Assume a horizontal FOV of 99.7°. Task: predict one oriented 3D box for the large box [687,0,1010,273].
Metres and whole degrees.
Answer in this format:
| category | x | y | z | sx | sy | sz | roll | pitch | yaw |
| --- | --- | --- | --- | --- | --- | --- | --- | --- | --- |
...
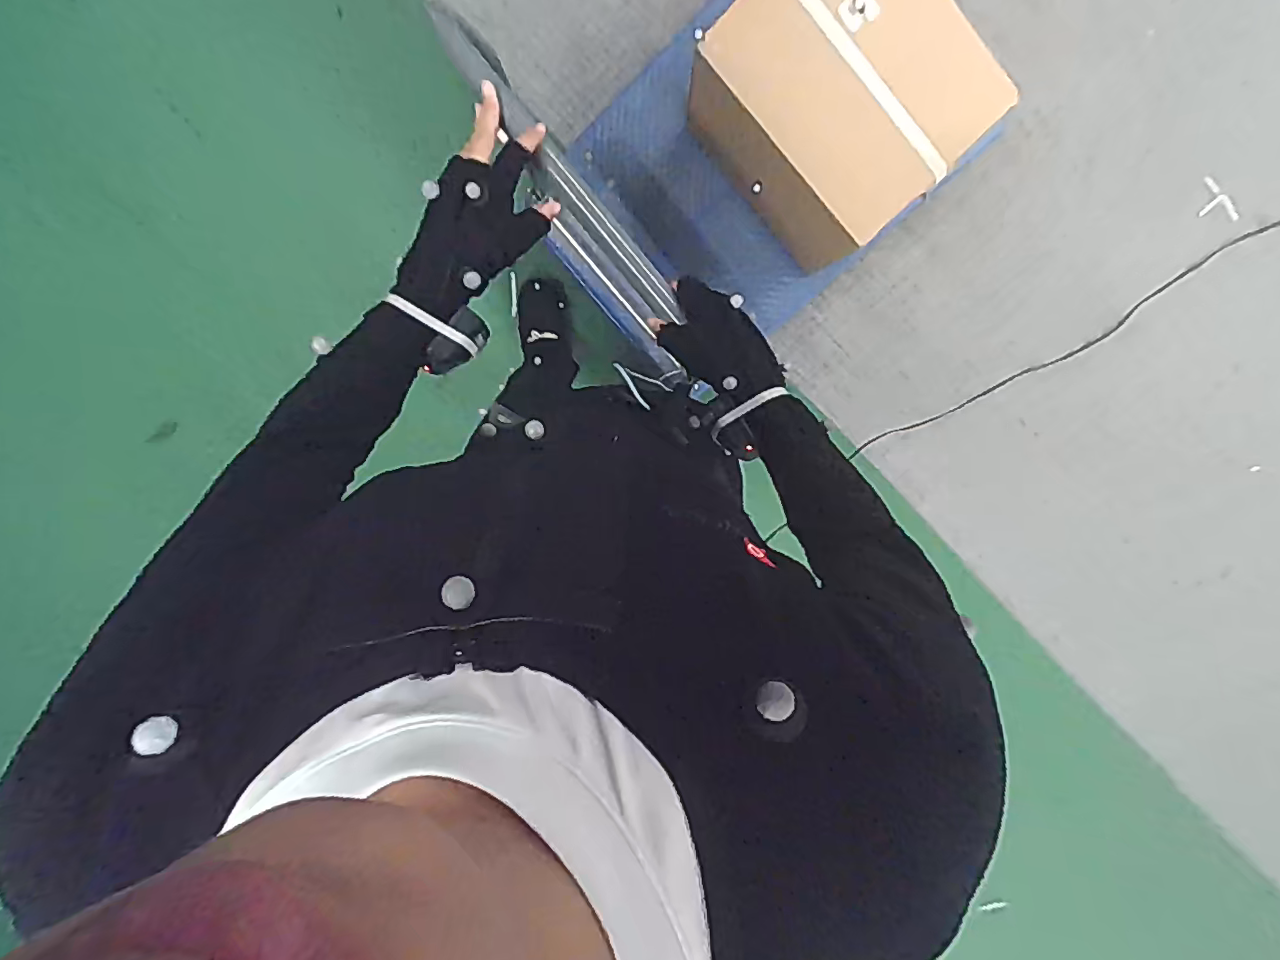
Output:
| category | x | y | z | sx | sy | sz | roll | pitch | yaw |
| --- | --- | --- | --- | --- | --- | --- | --- | --- | --- |
| large box | 0.329 | -0.649 | 0.970 | 0.320 | 0.320 | 0.408 | -42 | 97 | 10 |
